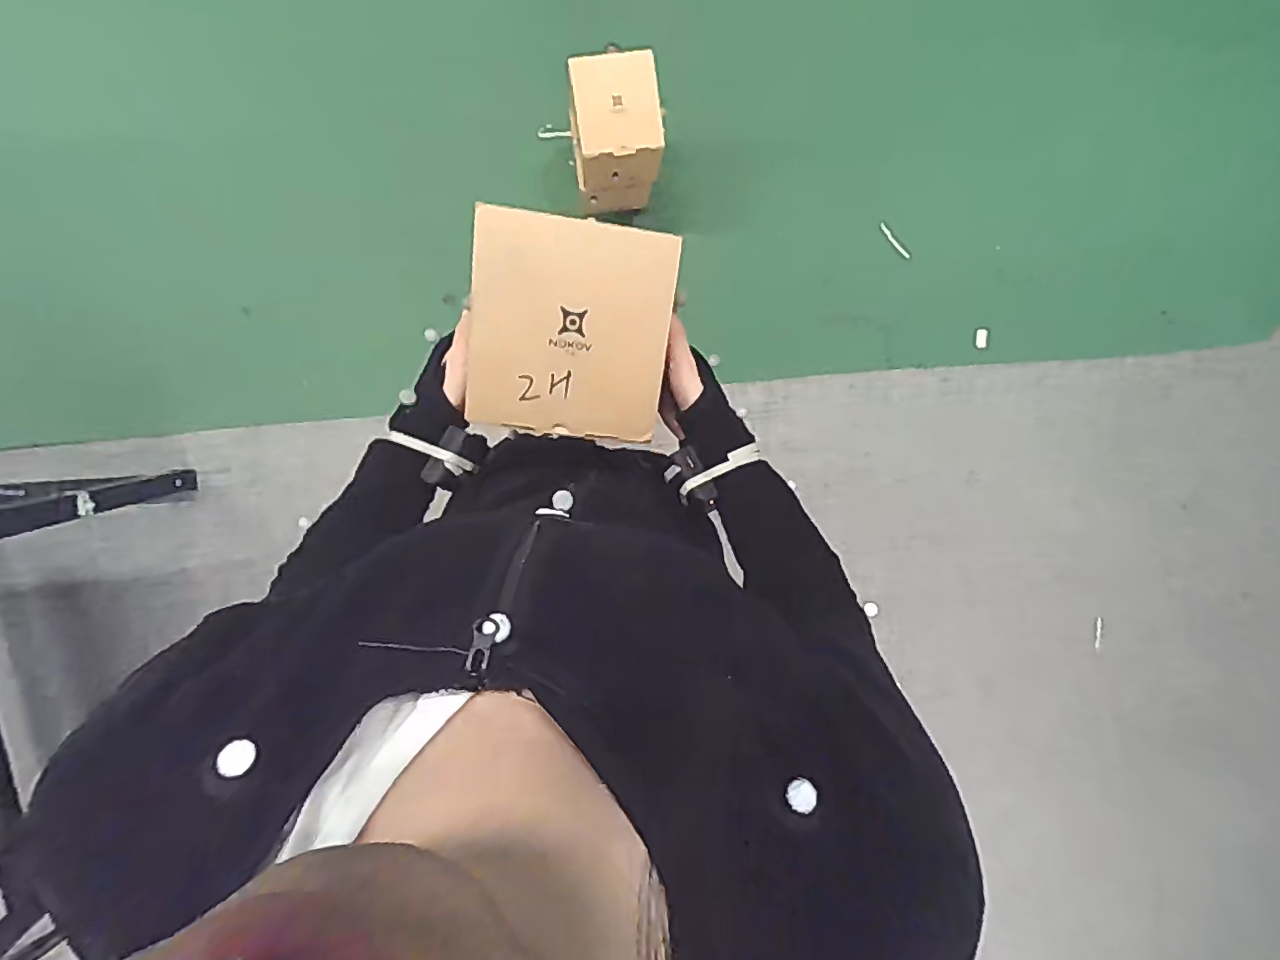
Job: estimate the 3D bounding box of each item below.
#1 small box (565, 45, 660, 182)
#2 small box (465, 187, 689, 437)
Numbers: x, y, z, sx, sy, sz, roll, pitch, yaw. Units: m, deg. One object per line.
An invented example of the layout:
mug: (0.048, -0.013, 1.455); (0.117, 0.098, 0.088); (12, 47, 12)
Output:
small box: (-0.061, -0.745, 1.114); (0.168, 0.176, 0.179); (-10, 101, -4)
small box: (-0.061, -0.153, 0.520); (0.168, 0.176, 0.179); (8, 106, -7)
